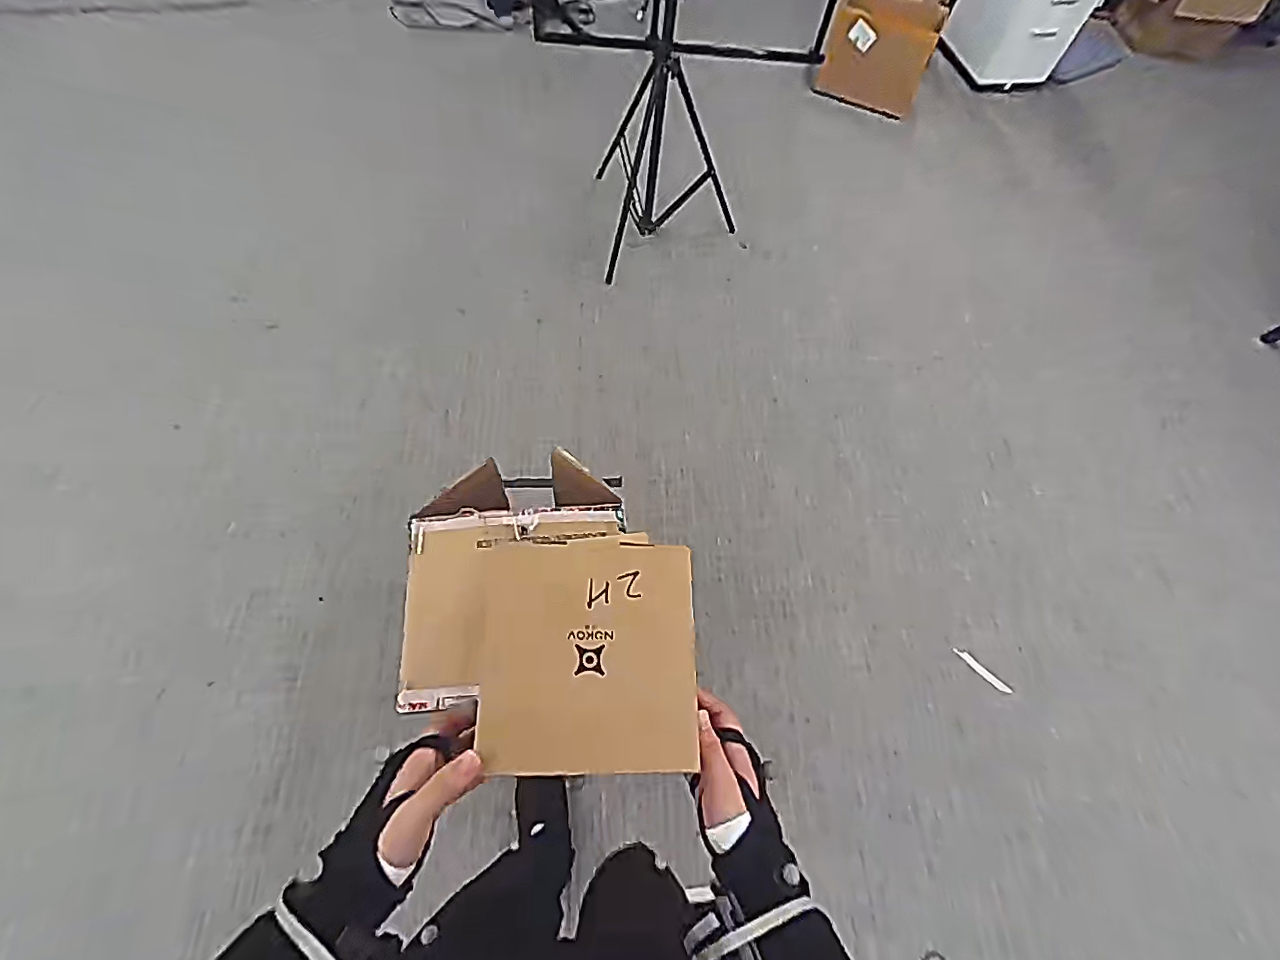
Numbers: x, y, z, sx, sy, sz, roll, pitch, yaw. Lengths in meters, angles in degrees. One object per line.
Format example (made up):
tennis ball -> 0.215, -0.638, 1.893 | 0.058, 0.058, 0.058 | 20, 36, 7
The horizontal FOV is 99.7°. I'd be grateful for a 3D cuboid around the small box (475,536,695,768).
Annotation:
small box -> -0.046, 0.163, 0.501 | 0.168, 0.176, 0.179 | 3, 64, -6
